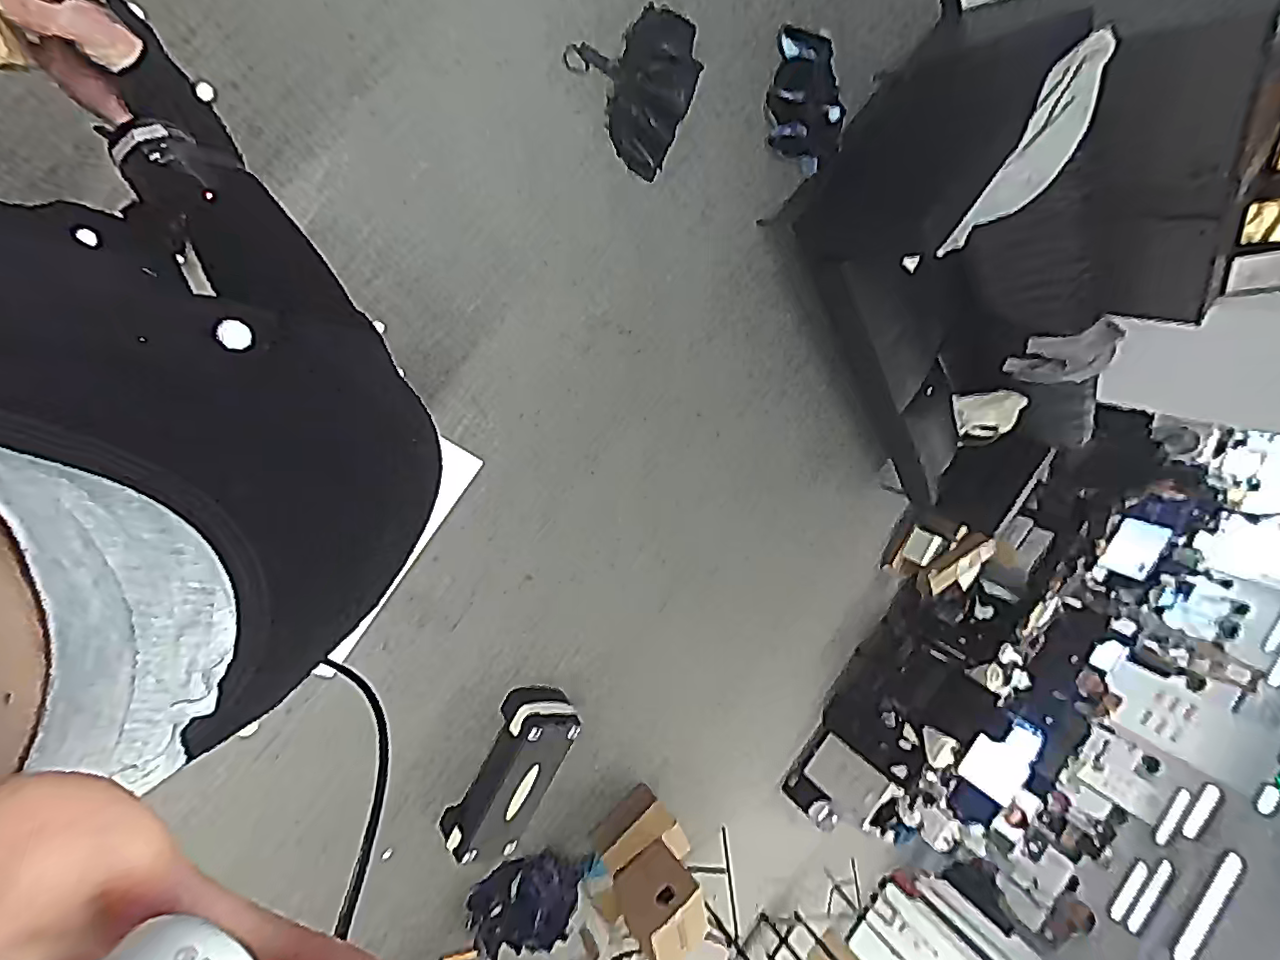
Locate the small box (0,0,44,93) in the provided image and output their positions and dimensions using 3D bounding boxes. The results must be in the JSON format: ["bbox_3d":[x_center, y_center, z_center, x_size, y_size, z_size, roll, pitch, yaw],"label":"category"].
[{"bbox_3d":[-0.488,-0.322,0.295,0.168,0.176,0.179,-24,132,-31],"label":"small box"}]
